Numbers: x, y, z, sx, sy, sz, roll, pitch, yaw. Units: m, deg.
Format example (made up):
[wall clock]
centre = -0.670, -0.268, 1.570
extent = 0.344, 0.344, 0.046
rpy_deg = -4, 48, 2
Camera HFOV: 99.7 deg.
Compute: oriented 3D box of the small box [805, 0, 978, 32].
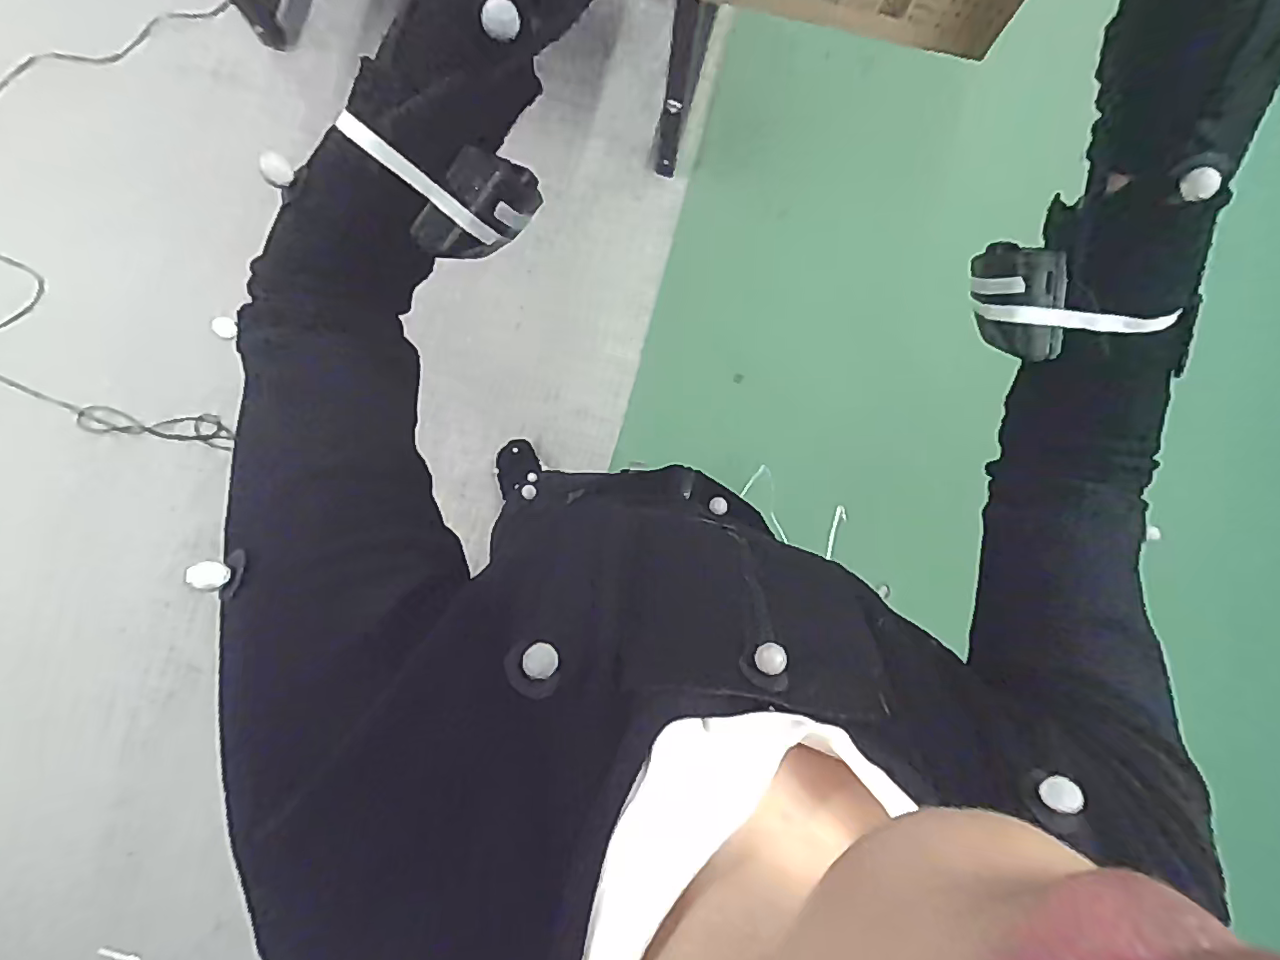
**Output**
[small box]
centre = 0.117, -0.355, 0.241
extent = 0.168, 0.176, 0.179
rpy_deg = 9, 74, -4
